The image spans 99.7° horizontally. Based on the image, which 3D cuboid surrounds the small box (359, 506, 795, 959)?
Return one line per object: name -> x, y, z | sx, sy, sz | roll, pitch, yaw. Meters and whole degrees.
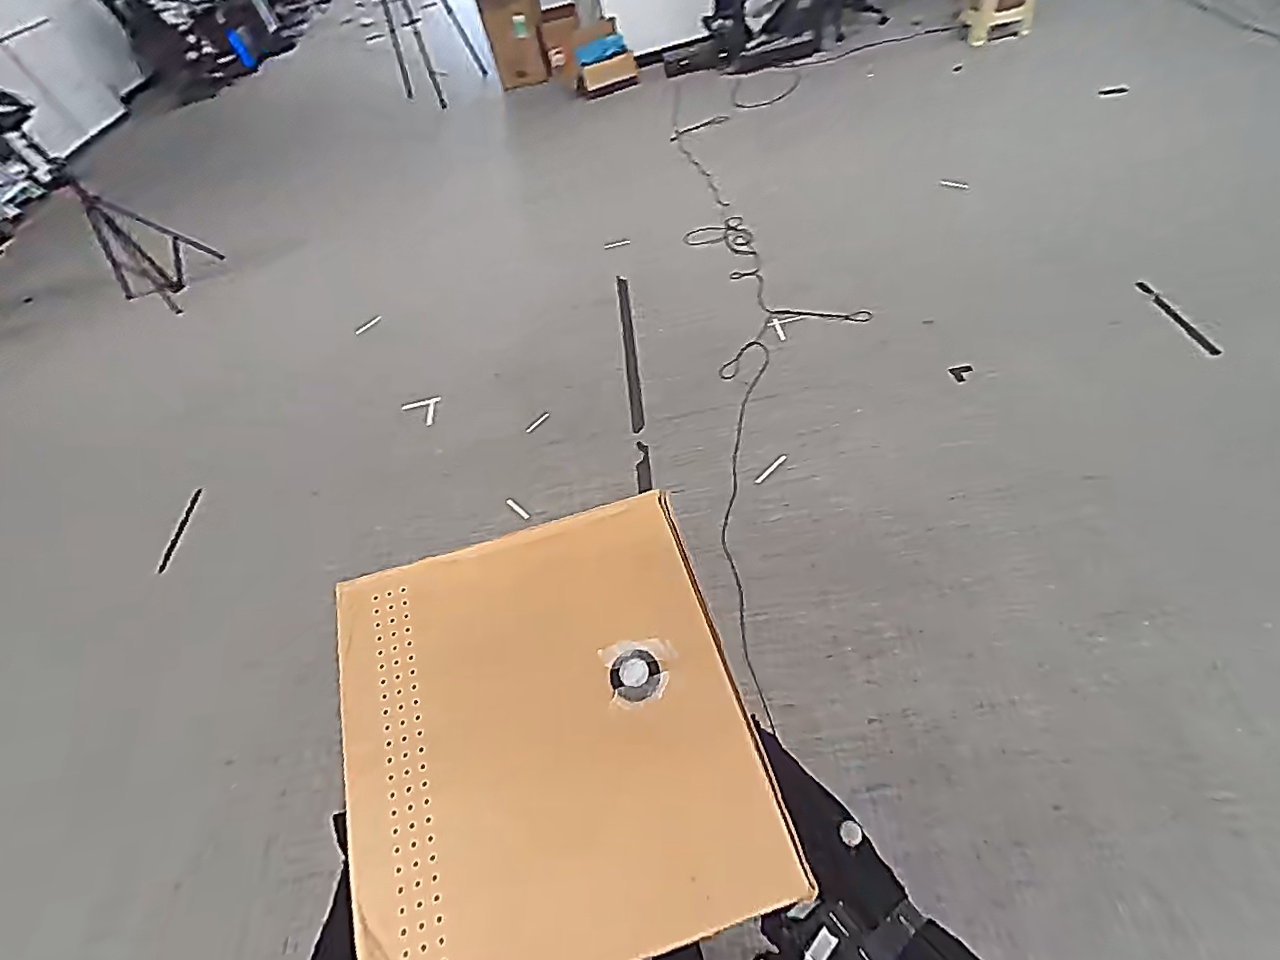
small box -> -0.040, 0.144, 0.308 | 0.176, 0.168, 0.179 | -16, 62, -5
